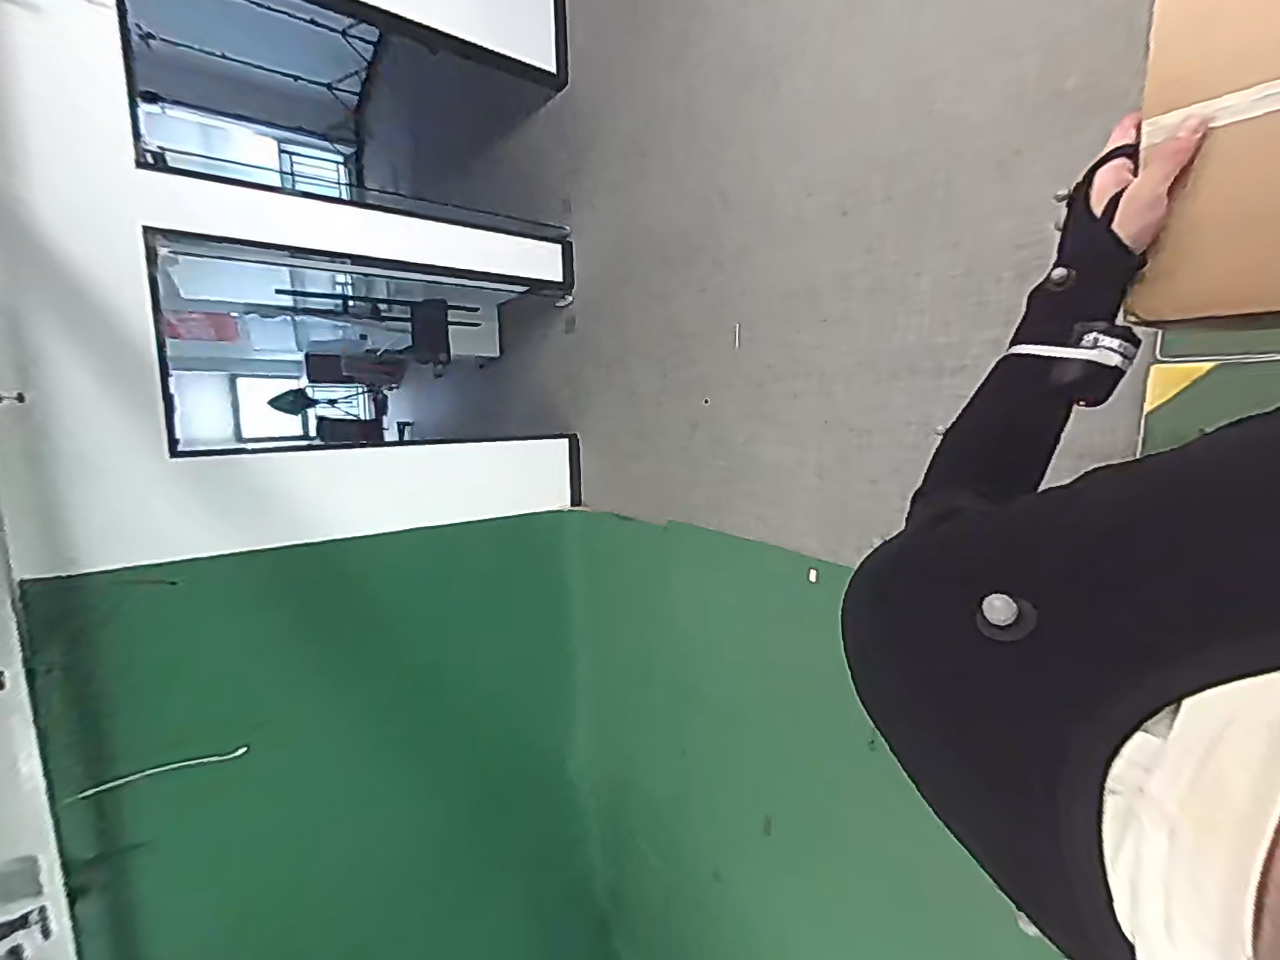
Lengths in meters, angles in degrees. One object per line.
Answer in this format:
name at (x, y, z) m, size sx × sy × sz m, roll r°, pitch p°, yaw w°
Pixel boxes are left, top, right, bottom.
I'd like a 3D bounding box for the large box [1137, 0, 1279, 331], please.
large box at (0.678, -0.300, 0.408) m, size 0.408 × 0.320 × 0.320 m, roll 8°, pitch 105°, yaw 50°
